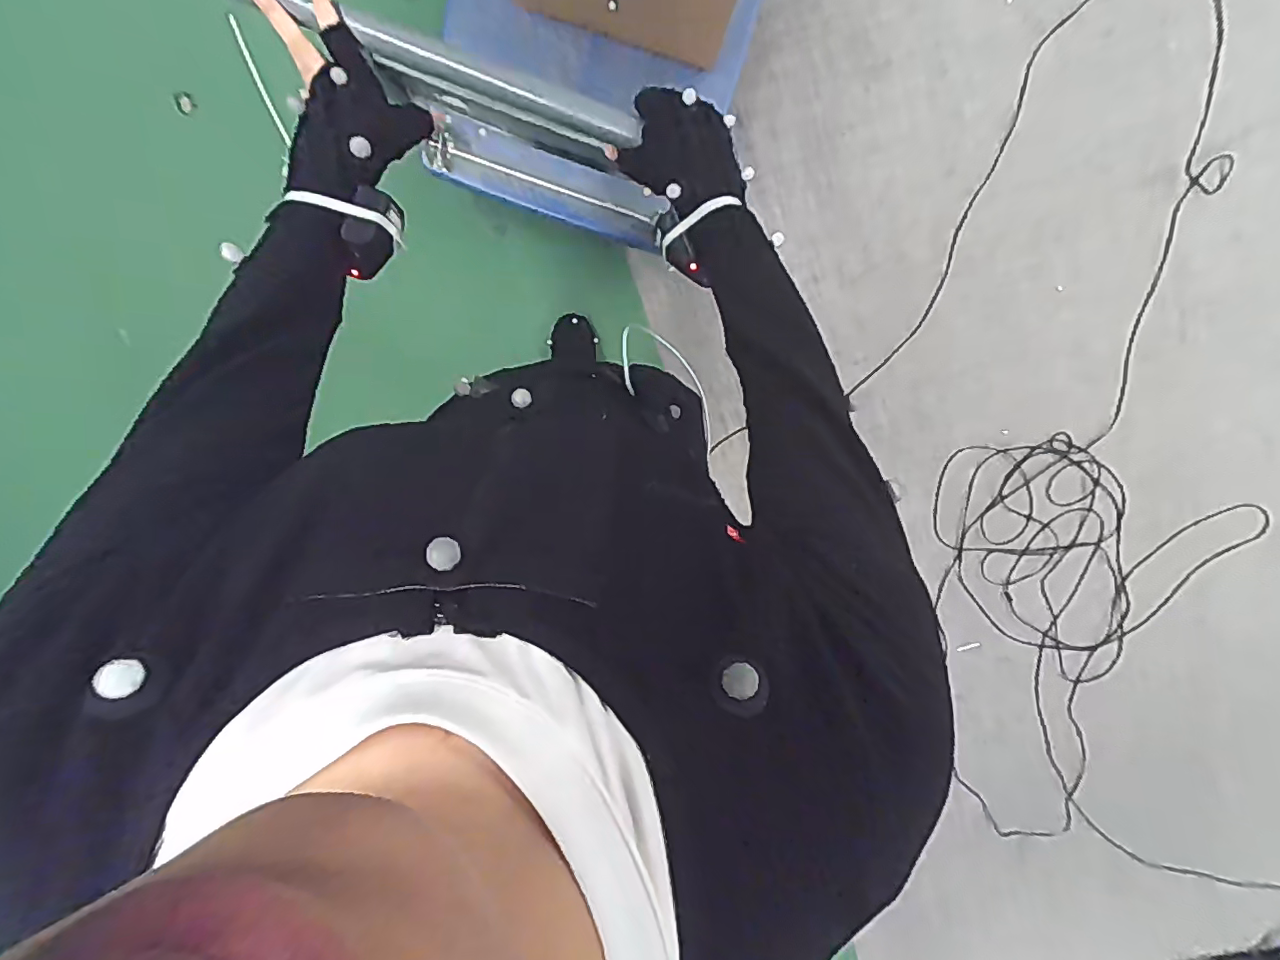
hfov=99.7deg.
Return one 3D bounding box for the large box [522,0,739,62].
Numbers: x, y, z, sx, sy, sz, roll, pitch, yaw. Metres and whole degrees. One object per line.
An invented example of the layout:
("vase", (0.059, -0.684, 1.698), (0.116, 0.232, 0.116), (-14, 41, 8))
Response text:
("large box", (0.000, -0.972, 0.881), (0.408, 0.320, 0.320), (15, 105, -5))
